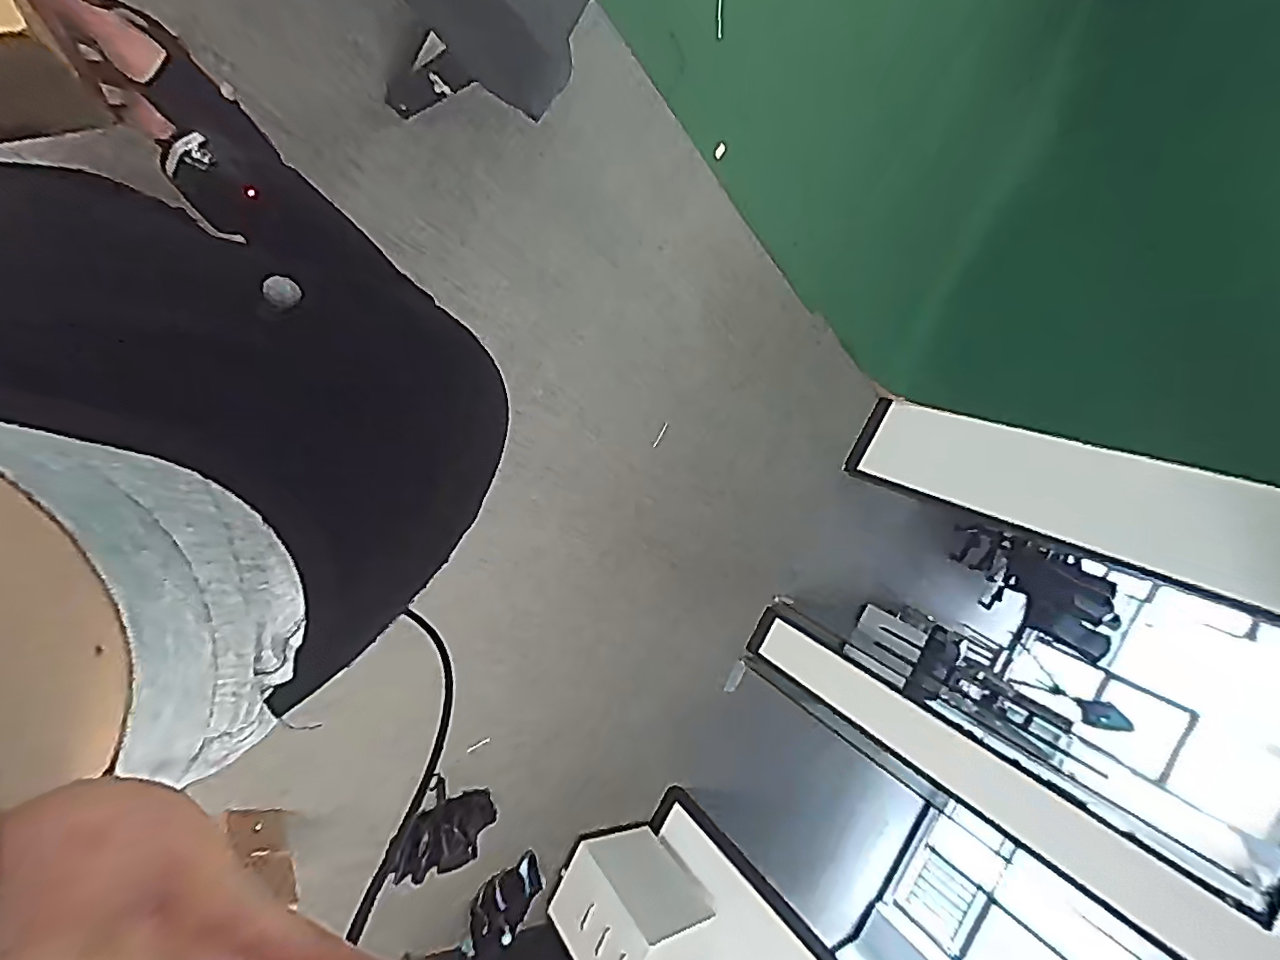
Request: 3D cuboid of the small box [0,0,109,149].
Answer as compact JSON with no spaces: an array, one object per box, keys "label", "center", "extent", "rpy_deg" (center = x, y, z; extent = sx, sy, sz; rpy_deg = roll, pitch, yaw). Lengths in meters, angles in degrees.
[{"label":"small box","center":[-0.526,-0.344,0.360],"extent":[0.168,0.176,0.179],"rpy_deg":[-27,113,-21]}]
